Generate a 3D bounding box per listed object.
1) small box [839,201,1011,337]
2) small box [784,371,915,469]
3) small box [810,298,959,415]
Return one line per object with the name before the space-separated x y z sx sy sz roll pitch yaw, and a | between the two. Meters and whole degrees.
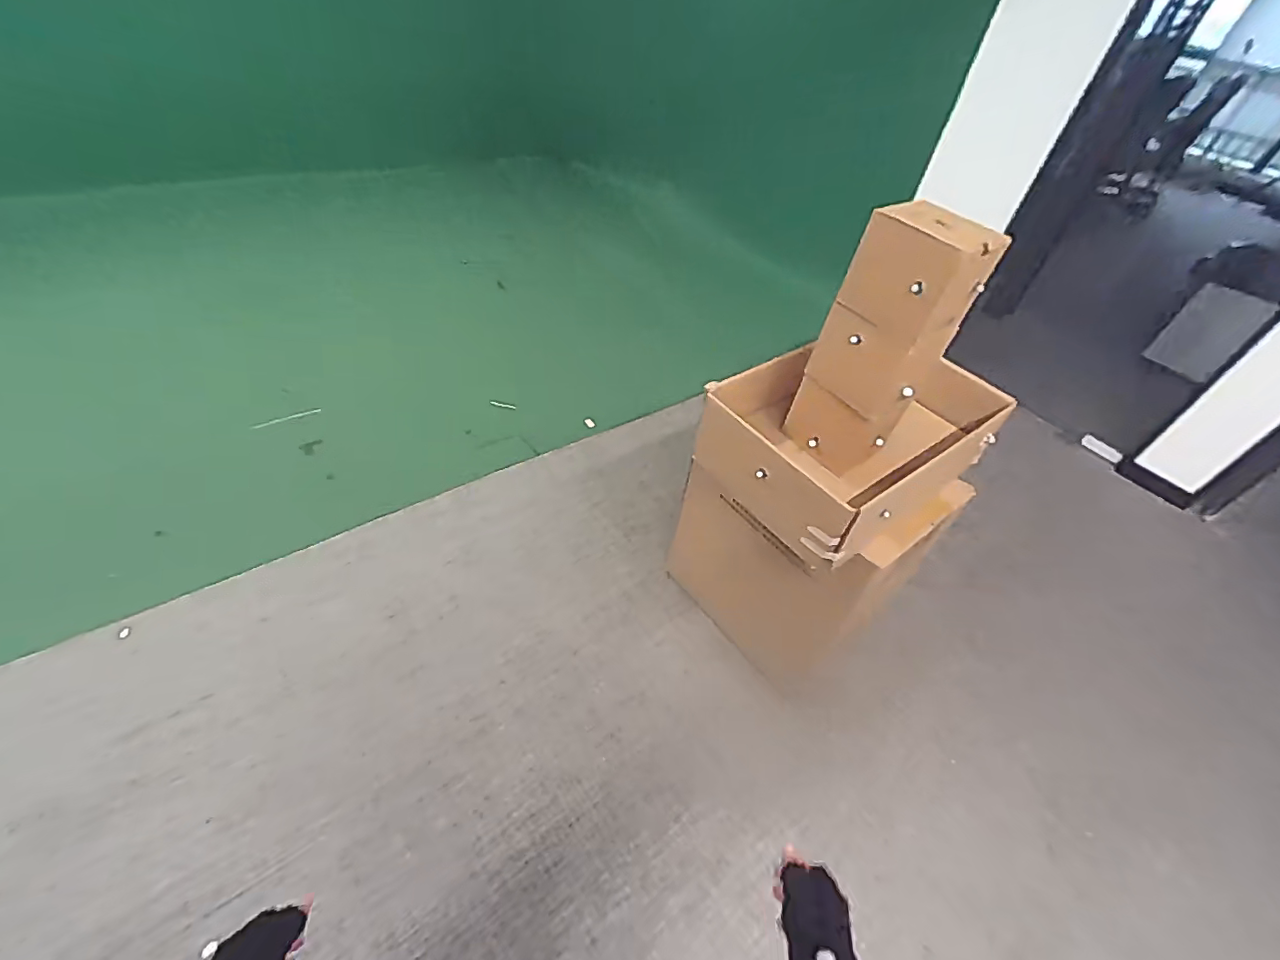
small box | 0.493 -0.368 0.957 0.168 0.176 0.179 -25 54 -31
small box | 0.453 -0.146 1.192 0.168 0.176 0.179 -25 56 -31
small box | 0.472 -0.257 1.072 0.168 0.176 0.179 -23 55 -29
